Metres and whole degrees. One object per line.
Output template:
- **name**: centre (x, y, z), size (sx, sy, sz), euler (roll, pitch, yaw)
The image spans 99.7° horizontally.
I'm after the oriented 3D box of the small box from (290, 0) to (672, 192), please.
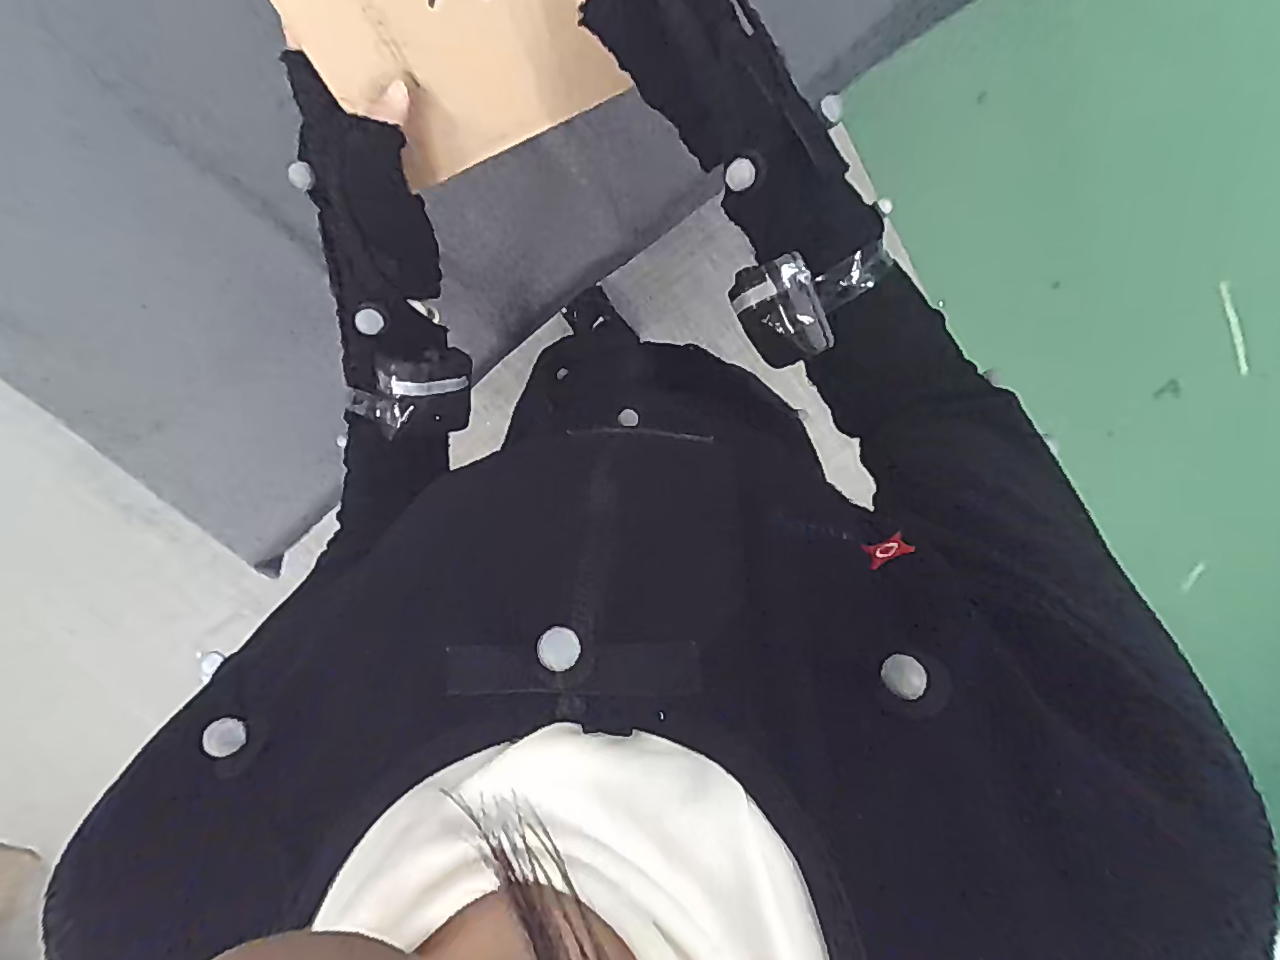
- **small box**: centre (-0.096, -0.313, 0.321), size (0.179, 0.176, 0.168), euler (-18, 134, 12)
